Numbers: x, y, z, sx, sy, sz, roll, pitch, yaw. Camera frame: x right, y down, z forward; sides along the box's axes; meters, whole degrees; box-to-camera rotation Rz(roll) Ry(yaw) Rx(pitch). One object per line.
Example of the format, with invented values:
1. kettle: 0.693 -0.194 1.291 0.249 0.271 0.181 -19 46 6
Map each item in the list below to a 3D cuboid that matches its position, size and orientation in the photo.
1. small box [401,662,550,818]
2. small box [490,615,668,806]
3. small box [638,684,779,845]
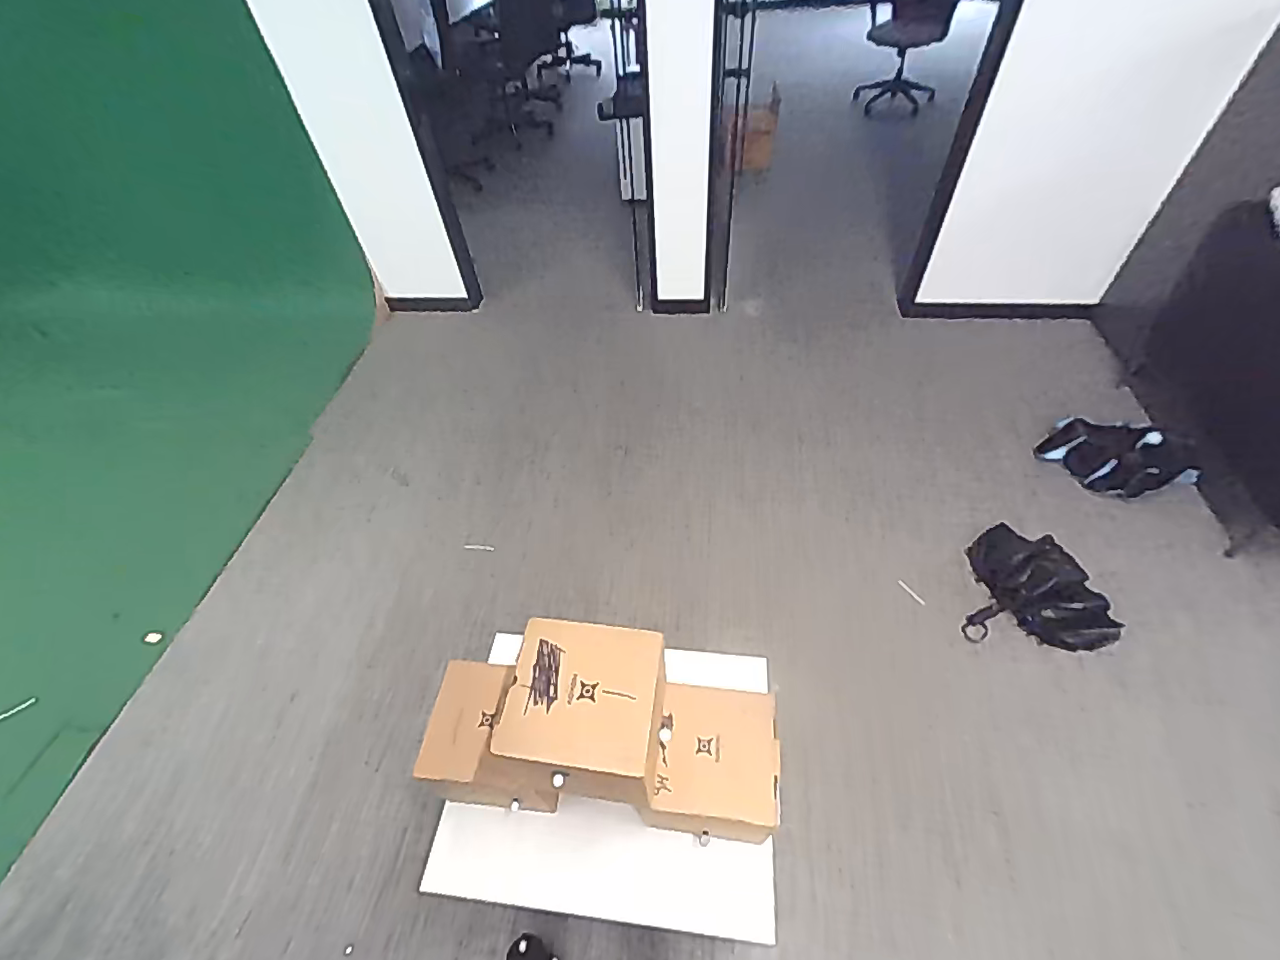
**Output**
1. small box: -0.216 0.389 0.803 0.179 0.176 0.168 3 48 3
2. small box: -0.062 0.288 0.671 0.179 0.176 0.168 5 49 5
3. small box: 0.095 0.412 0.780 0.179 0.176 0.168 4 49 6
